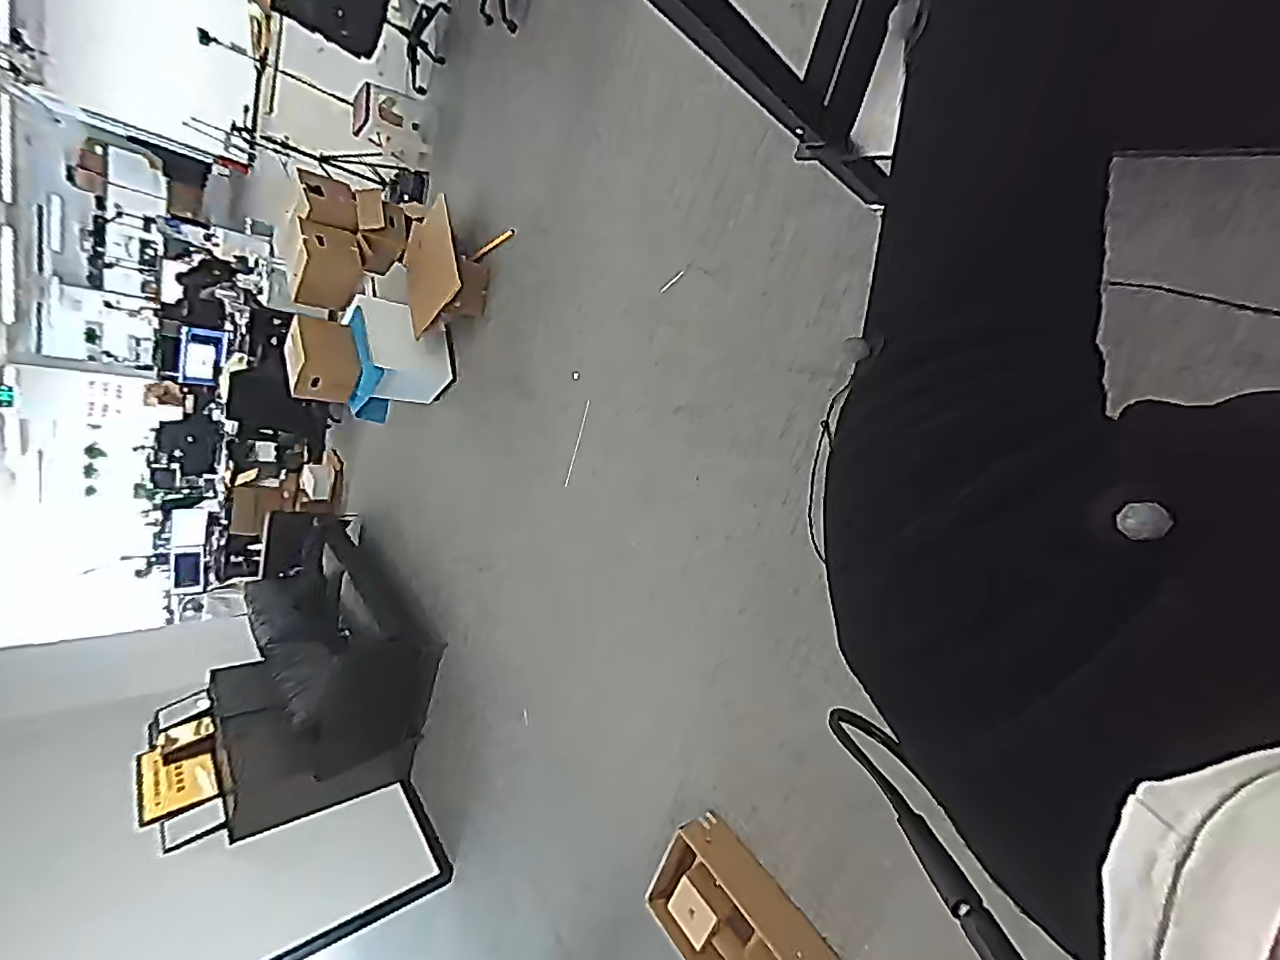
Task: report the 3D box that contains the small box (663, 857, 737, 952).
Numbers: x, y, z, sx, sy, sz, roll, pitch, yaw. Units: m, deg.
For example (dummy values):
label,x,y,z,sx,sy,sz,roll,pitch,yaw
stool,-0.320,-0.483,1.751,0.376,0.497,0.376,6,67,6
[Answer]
label,x,y,z,sx,sy,sz,roll,pitch,yaw
small box,0.218,1.496,1.918,0.168,0.176,0.179,36,113,40

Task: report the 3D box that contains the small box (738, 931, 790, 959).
label,x,y,z,sx,sy,sz,roll,pitch,yaw
small box,0.396,1.617,1.735,0.168,0.176,0.179,35,113,41
